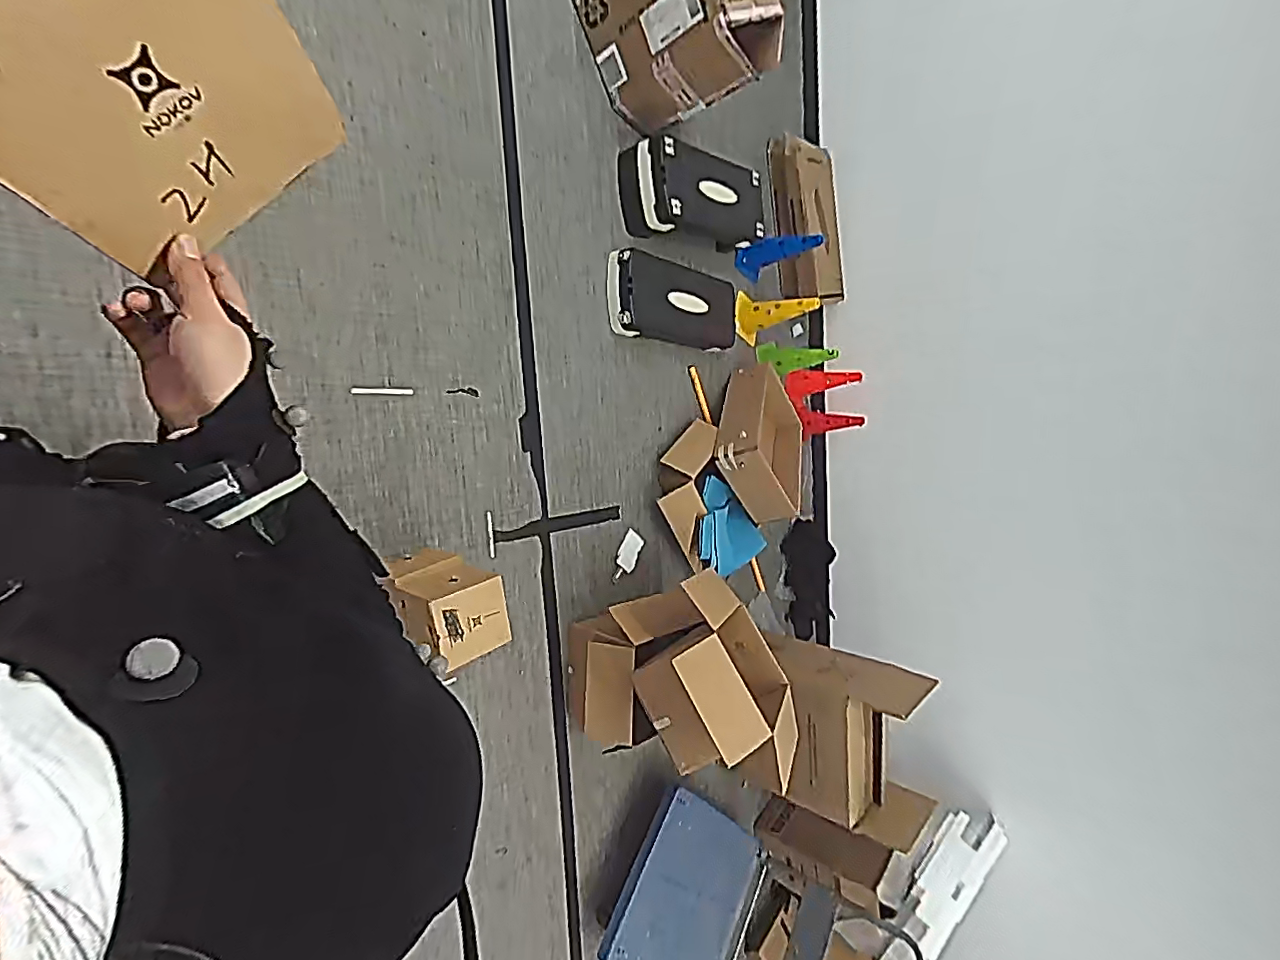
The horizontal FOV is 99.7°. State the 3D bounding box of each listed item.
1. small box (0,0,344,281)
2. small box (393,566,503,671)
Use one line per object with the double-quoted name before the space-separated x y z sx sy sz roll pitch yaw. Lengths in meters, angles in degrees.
"small box" -0.311 -0.252 0.282 0.176 0.179 0.168 42 79 4
"small box" -0.444 0.307 1.238 0.179 0.176 0.168 -17 105 -47
